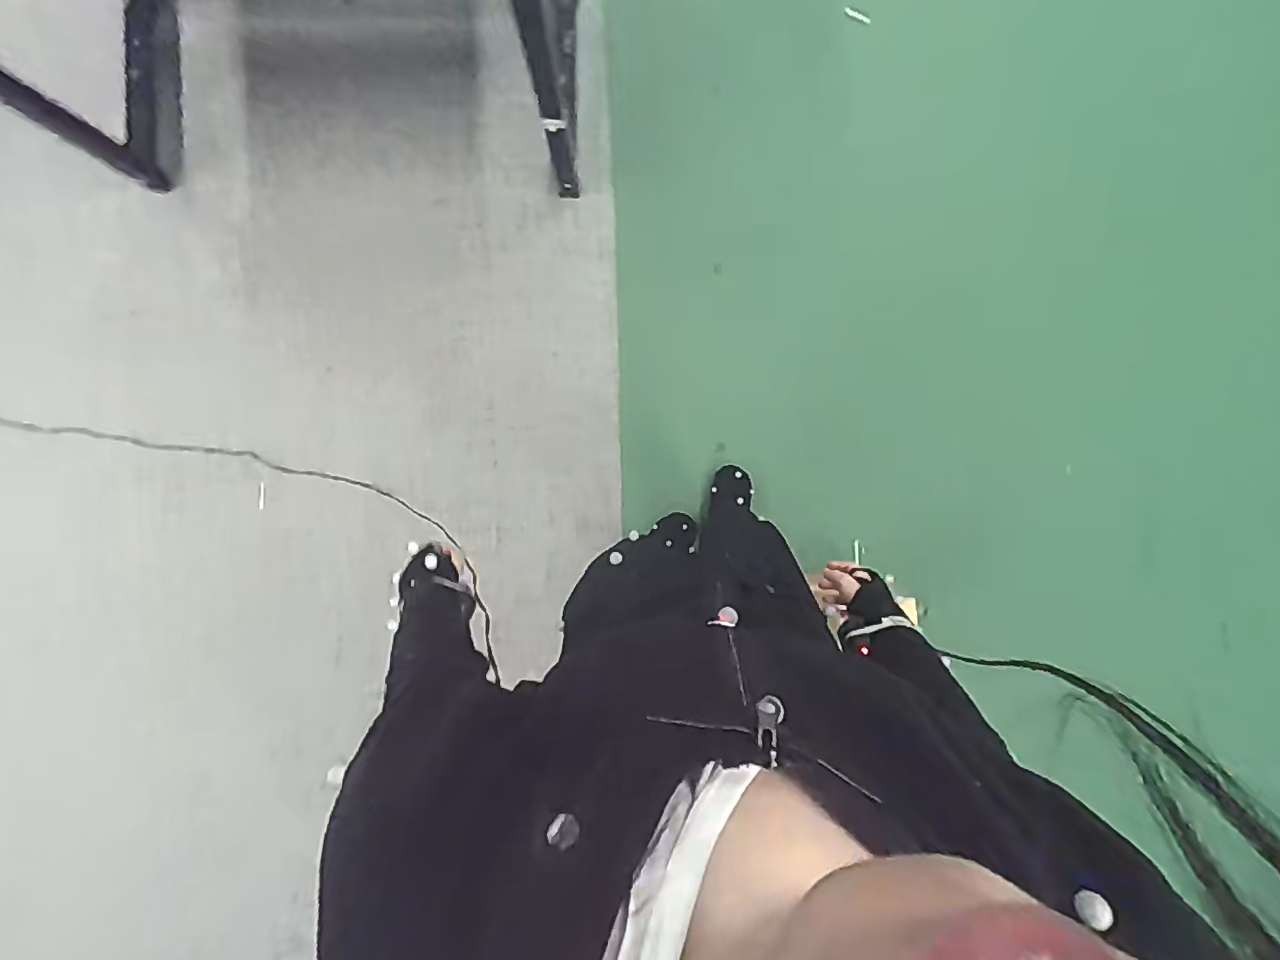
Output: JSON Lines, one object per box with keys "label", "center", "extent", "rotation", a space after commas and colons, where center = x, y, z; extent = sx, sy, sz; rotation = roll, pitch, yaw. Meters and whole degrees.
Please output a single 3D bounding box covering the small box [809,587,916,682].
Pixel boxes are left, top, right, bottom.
{"label": "small box", "center": [0.513, 0.354, 1.264], "extent": [0.179, 0.176, 0.168], "rotation": [-6, 91, -1]}
